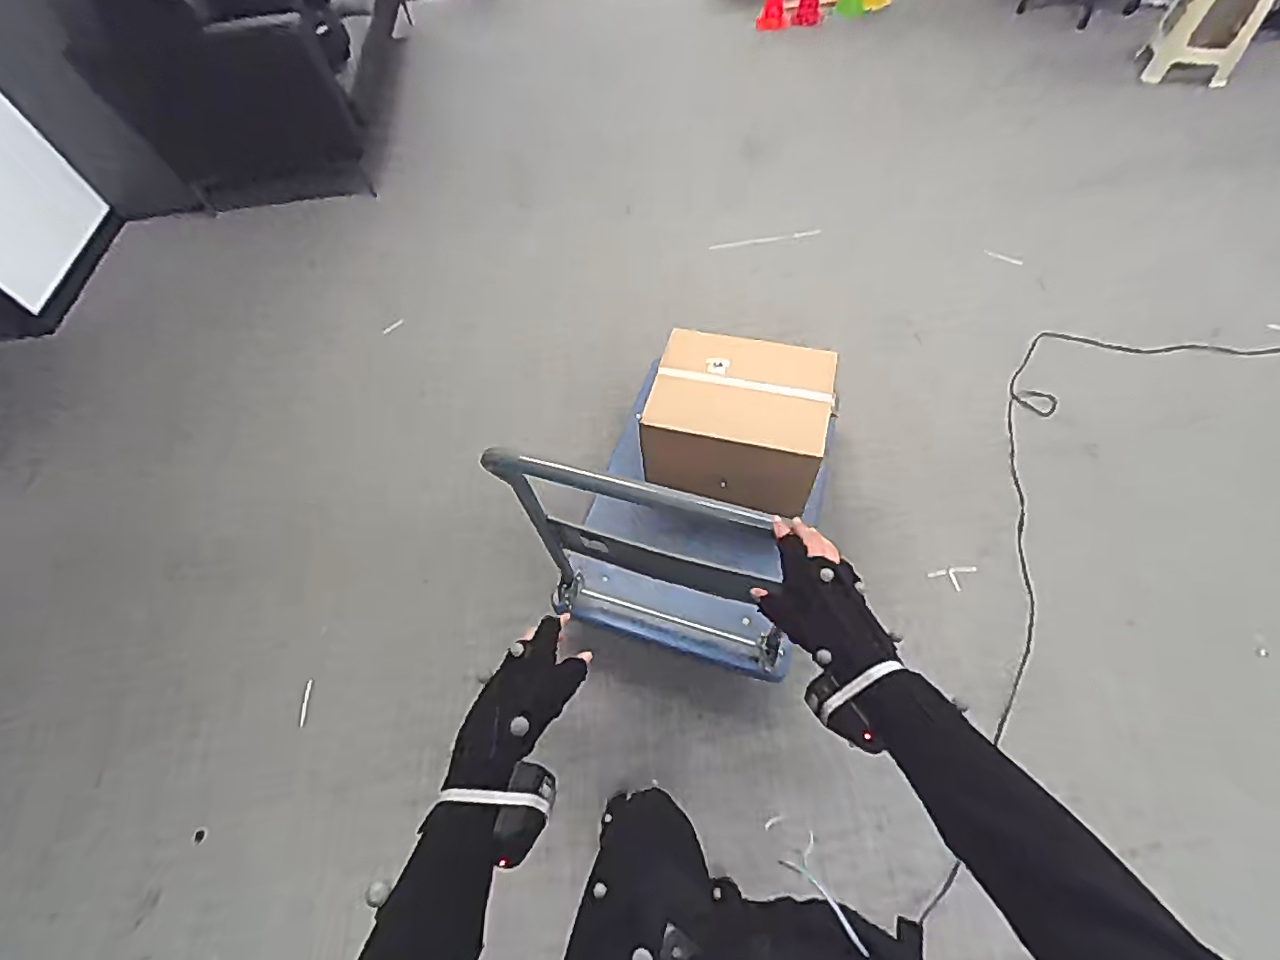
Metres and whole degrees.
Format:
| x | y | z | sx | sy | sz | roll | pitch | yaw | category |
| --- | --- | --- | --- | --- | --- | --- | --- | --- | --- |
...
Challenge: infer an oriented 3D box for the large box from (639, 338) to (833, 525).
| x | y | z | sx | sy | sz | roll | pitch | yaw | category |
| --- | --- | --- | --- | --- | --- | --- | --- | --- | --- |
| 0.244 | -0.119 | 1.370 | 0.408 | 0.320 | 0.320 | 11 | 59 | 14 | large box |
